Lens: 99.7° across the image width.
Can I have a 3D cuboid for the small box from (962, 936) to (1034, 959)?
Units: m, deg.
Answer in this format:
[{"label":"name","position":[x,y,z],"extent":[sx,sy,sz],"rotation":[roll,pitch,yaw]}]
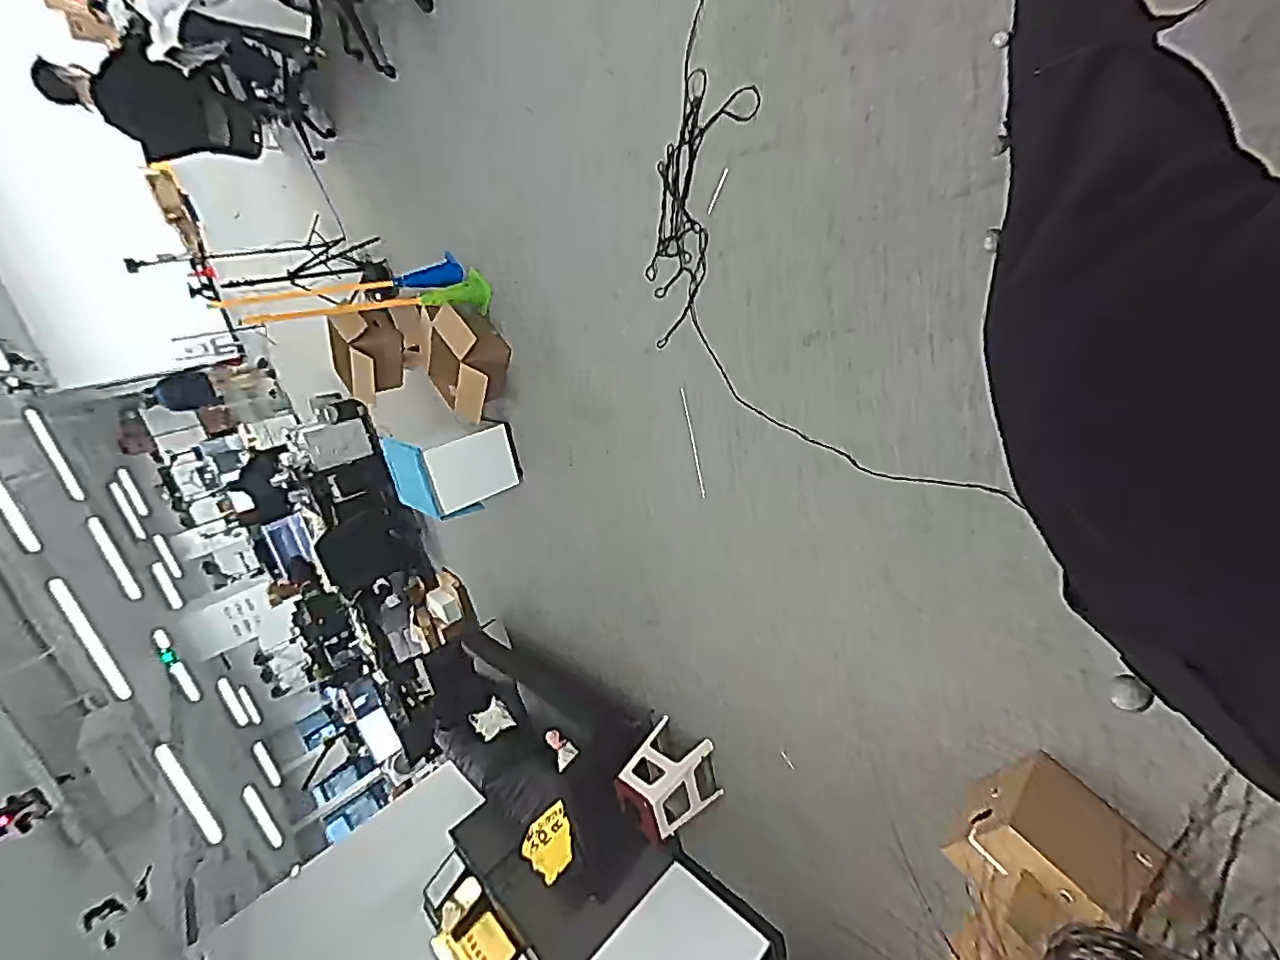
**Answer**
[{"label":"small box","position":[0.872,1.232,1.281],"extent":[0.168,0.176,0.179],"rotation":[43,140,26]}]
